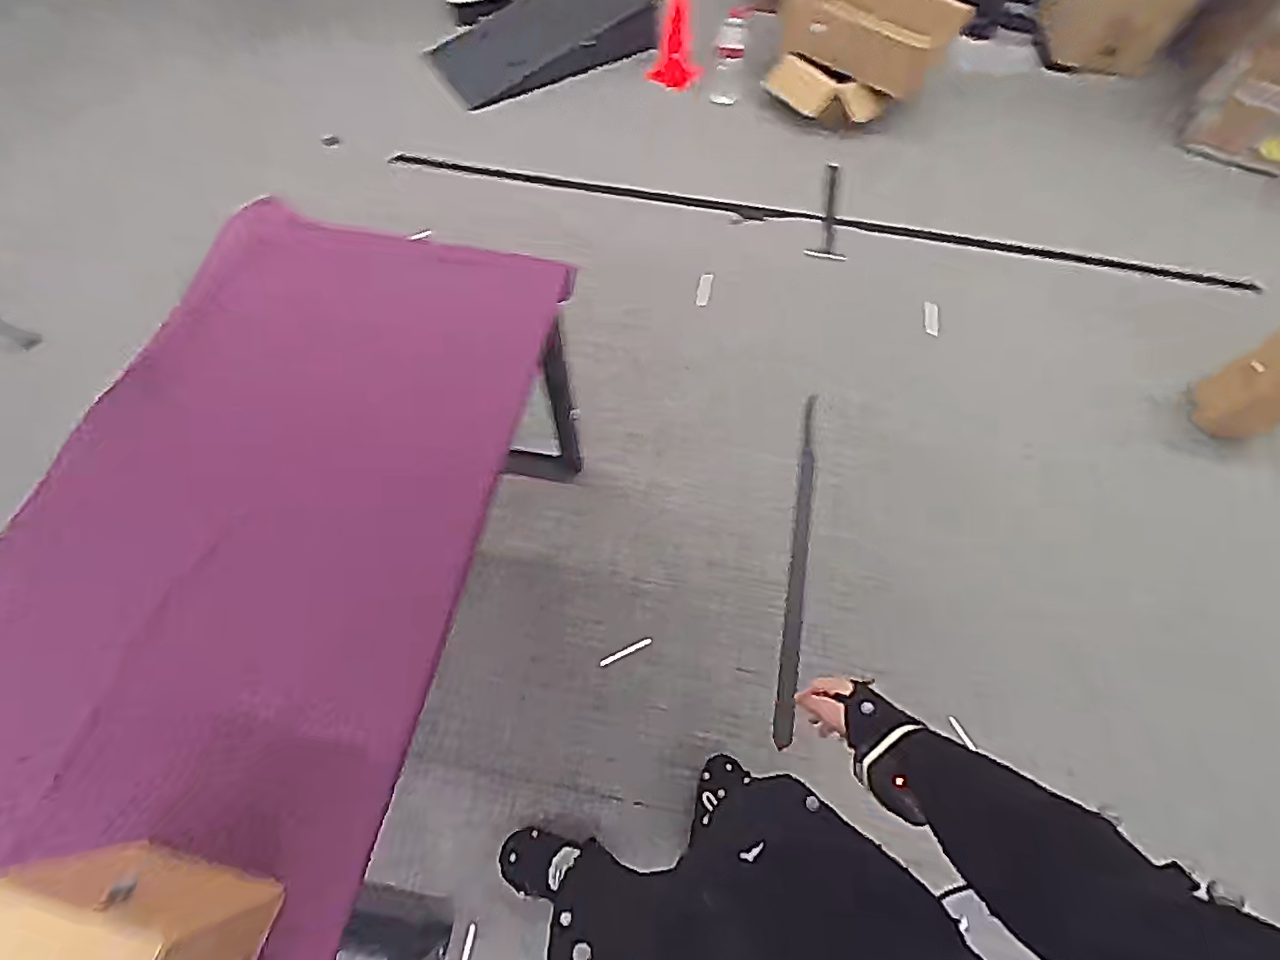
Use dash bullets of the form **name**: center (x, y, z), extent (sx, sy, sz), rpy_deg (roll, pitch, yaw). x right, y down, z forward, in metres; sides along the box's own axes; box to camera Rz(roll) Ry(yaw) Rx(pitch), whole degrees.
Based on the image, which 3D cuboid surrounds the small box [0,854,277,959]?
- **small box**: center (-0.473, 0.447, 0.466), extent (0.179, 0.176, 0.168), rpy_deg (13, 64, 4)
